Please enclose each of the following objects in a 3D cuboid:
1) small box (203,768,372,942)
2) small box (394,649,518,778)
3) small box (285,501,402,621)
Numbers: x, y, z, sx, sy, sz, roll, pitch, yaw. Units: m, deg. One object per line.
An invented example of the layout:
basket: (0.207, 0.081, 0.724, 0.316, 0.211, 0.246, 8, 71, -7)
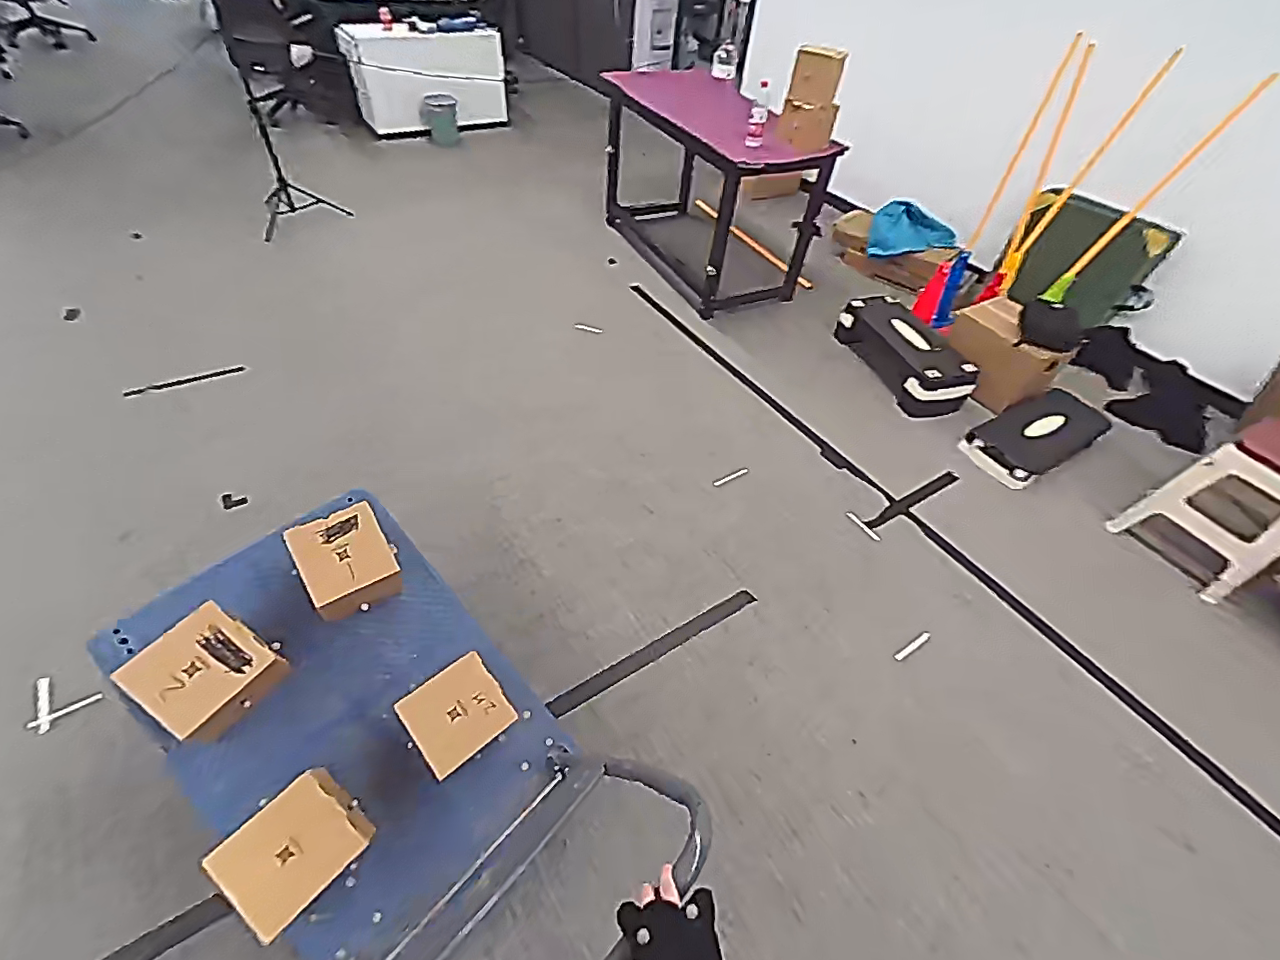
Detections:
small box: (-0.596, 0.637, 0.942, 0.168, 0.176, 0.179, 46, 56, 5)
small box: (-0.376, 0.478, 1.108, 0.179, 0.176, 0.168, -32, 79, -31)
small box: (-0.629, 0.178, 1.163, 0.168, 0.176, 0.179, -25, 77, -30)
